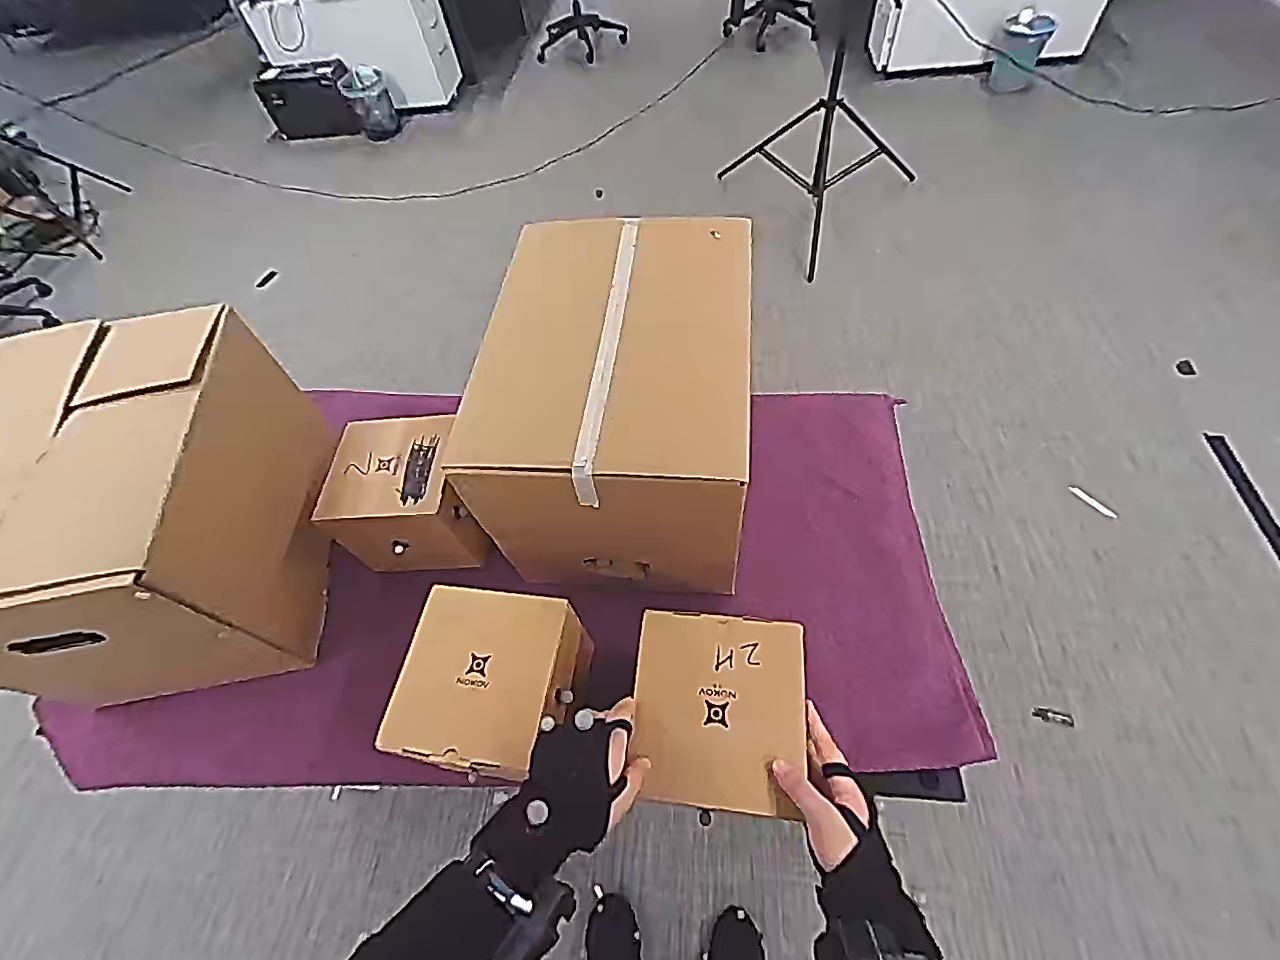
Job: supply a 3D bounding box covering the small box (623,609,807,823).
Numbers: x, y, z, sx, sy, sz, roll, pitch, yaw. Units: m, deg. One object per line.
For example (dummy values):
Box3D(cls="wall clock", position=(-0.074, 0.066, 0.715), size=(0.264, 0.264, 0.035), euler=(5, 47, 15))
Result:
Box3D(cls="small box", position=(0.082, 0.256, 0.585), size=(0.168, 0.176, 0.179), euler=(4, 59, 7))
